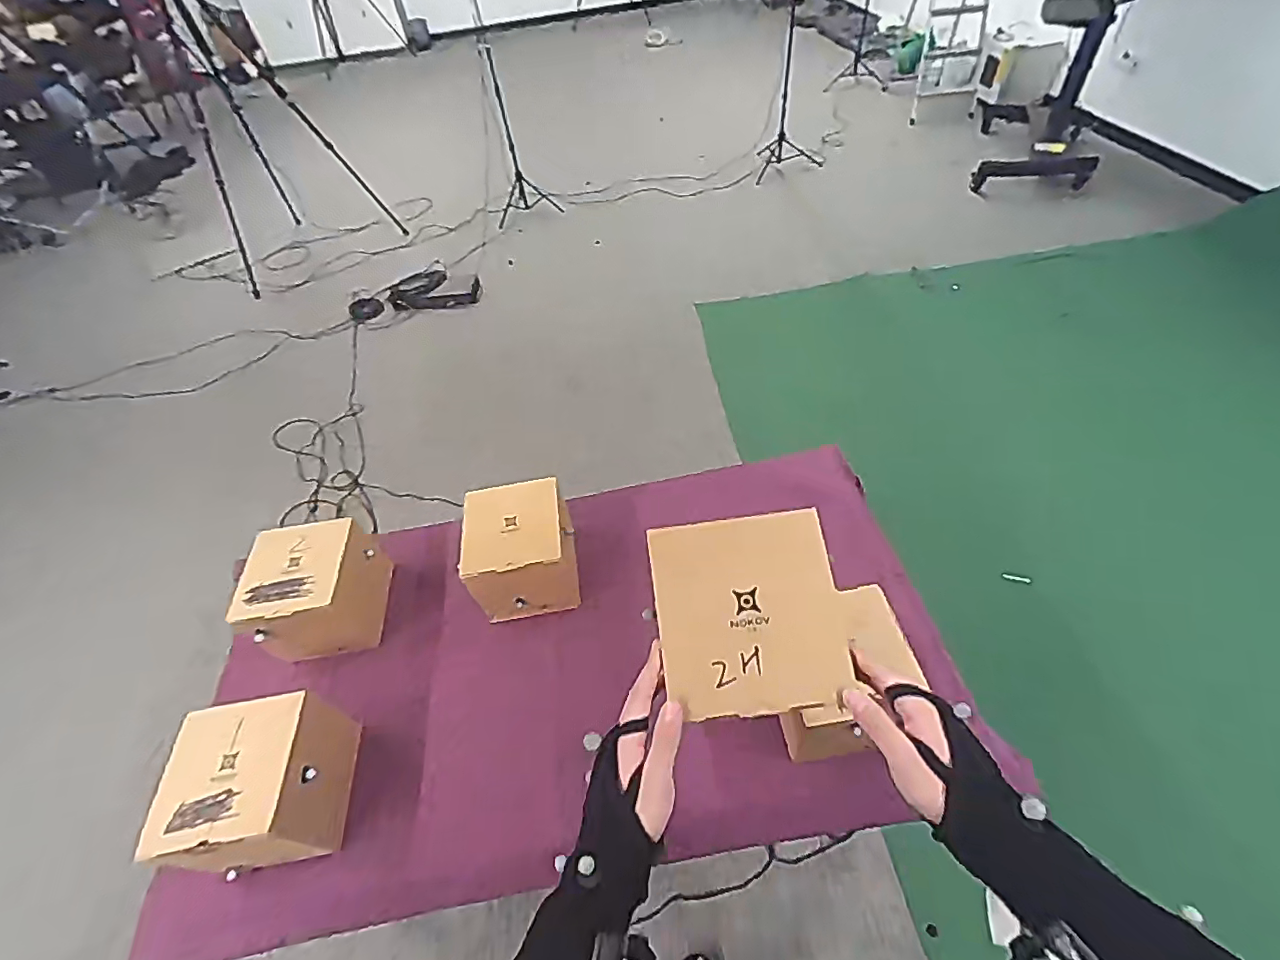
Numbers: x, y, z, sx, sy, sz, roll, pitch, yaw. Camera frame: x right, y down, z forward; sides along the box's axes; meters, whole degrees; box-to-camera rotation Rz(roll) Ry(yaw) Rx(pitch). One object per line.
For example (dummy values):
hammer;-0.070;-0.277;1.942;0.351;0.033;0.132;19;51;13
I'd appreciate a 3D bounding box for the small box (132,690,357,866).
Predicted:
small box;-0.524;0.418;0.752;0.168;0.176;0.179;-9;49;-2

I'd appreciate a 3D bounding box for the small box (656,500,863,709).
small box;0.108;0.134;0.567;0.168;0.176;0.179;-7;72;3

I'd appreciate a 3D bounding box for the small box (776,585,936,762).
small box;0.281;0.277;0.774;0.168;0.176;0.179;-10;48;1

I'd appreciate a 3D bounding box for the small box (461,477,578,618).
small box;-0.208;0.122;0.965;0.168;0.176;0.179;-10;51;-2
